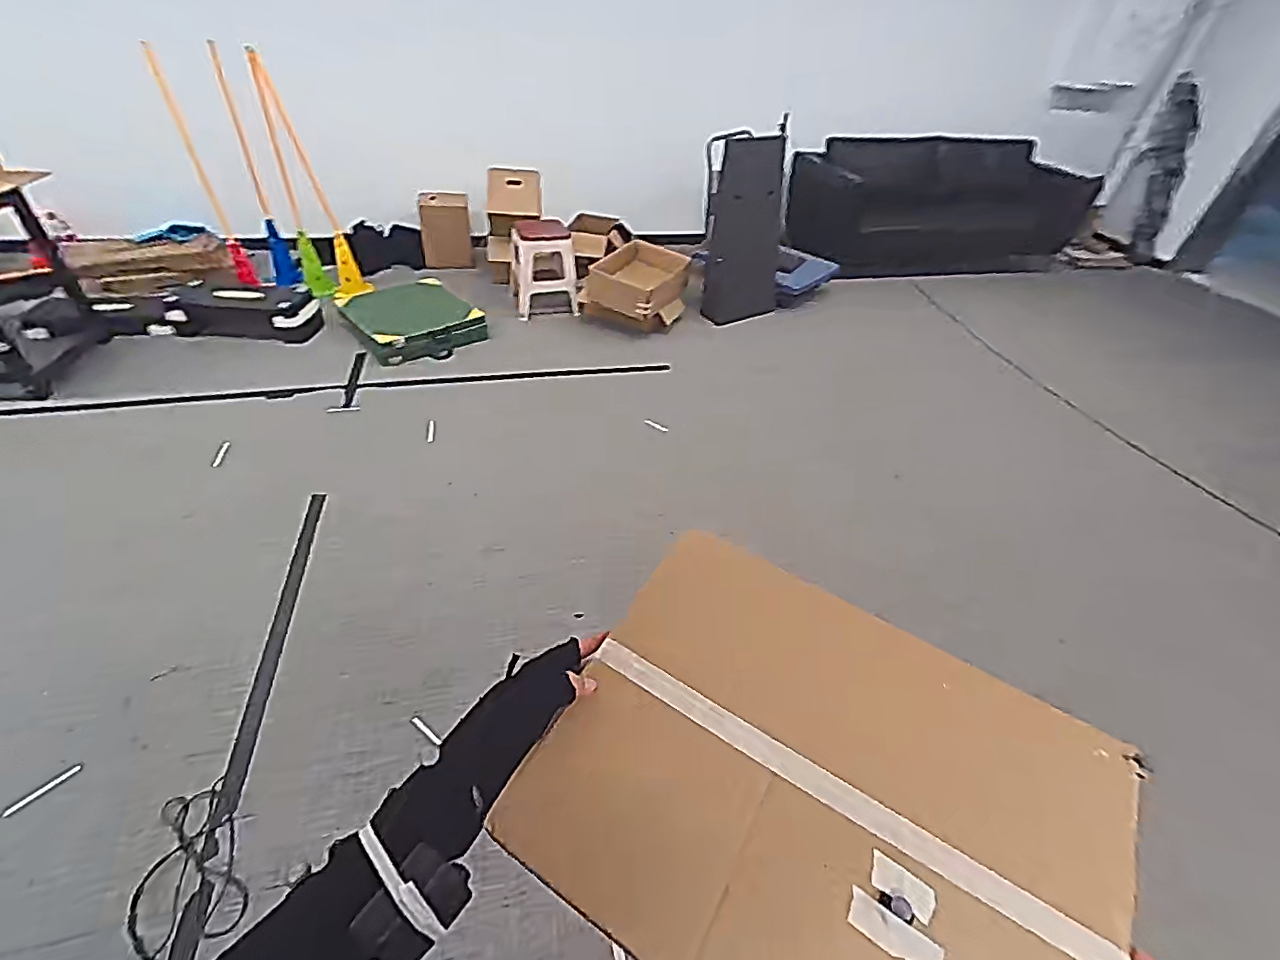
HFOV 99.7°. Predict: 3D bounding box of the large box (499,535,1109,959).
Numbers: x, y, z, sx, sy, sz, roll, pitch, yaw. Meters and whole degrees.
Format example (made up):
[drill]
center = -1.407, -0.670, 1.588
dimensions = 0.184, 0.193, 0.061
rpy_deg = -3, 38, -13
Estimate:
[large box]
center = 0.134, 0.329, 0.539
dimensions = 0.408, 0.320, 0.320
rpy_deg = 27, 56, 19
